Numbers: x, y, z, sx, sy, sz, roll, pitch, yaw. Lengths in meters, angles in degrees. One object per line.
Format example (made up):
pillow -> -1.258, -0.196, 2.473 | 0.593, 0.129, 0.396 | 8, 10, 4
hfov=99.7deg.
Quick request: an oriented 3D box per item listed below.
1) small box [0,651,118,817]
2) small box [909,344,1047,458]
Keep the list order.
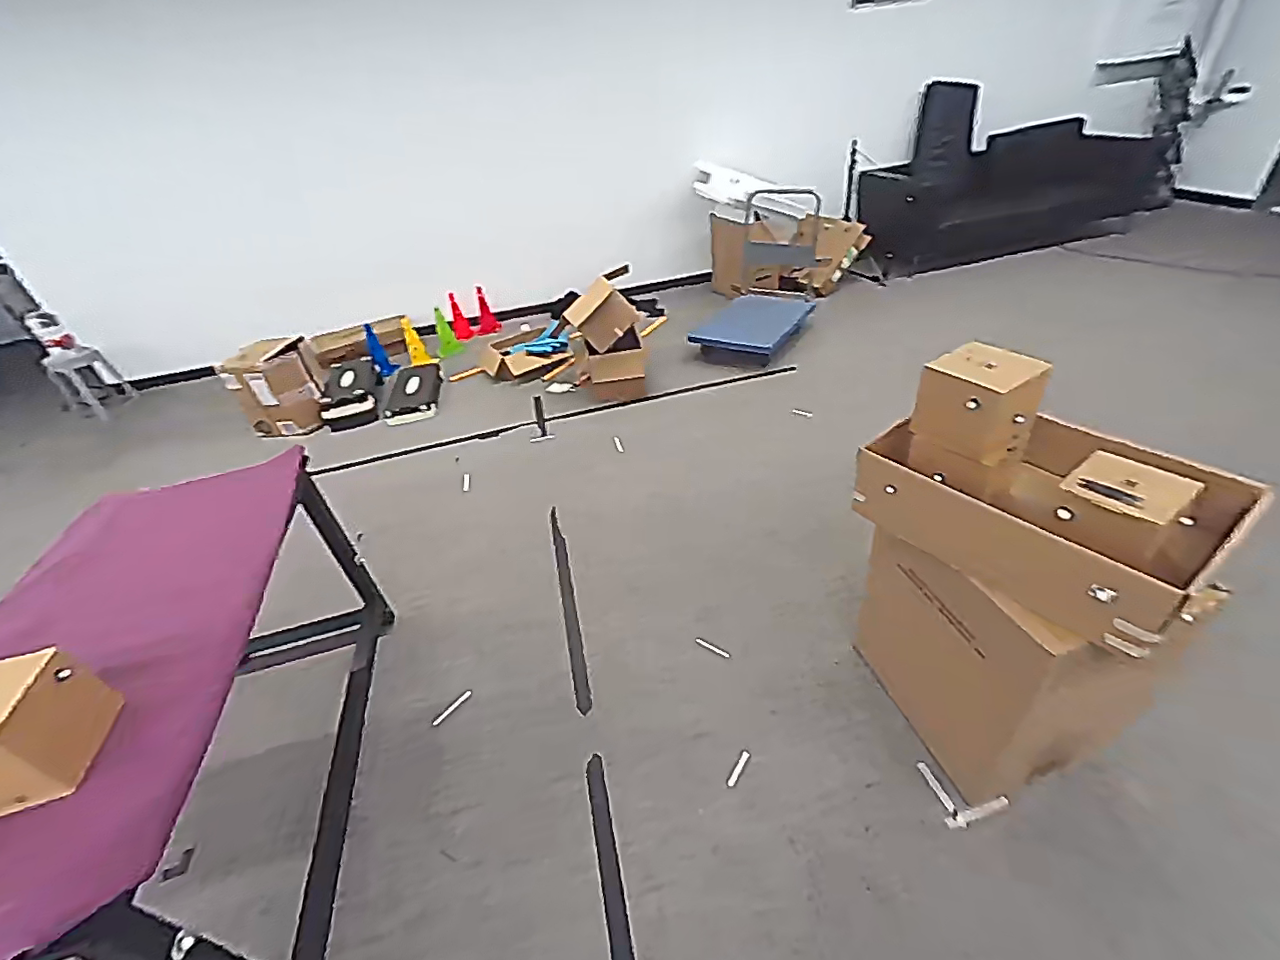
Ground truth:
small box -> -1.004, 0.414, 0.861 | 0.168, 0.176, 0.179 | -16, 36, -10
small box -> 0.715, -0.167, 1.163 | 0.168, 0.176, 0.179 | -25, 39, -20
